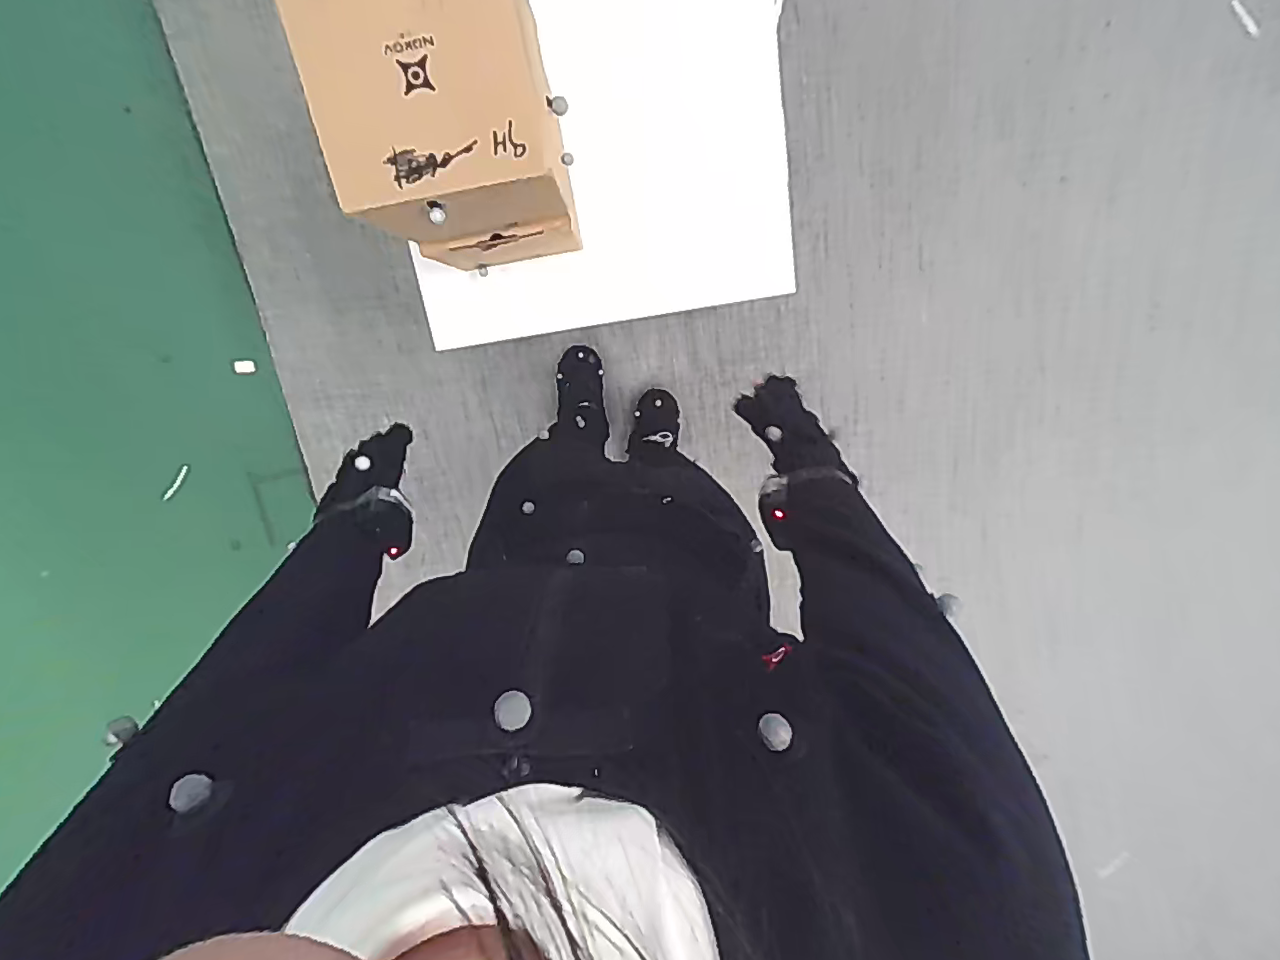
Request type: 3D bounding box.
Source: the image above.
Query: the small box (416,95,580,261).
[{"bbox_3d":[-0.169,-0.361,0.629,0.168,0.176,0.179,-10,105,1],"label":"small box"}]

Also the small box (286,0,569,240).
[{"bbox_3d":[-0.164,-0.327,0.469,0.168,0.176,0.179,-10,105,2],"label":"small box"}]
